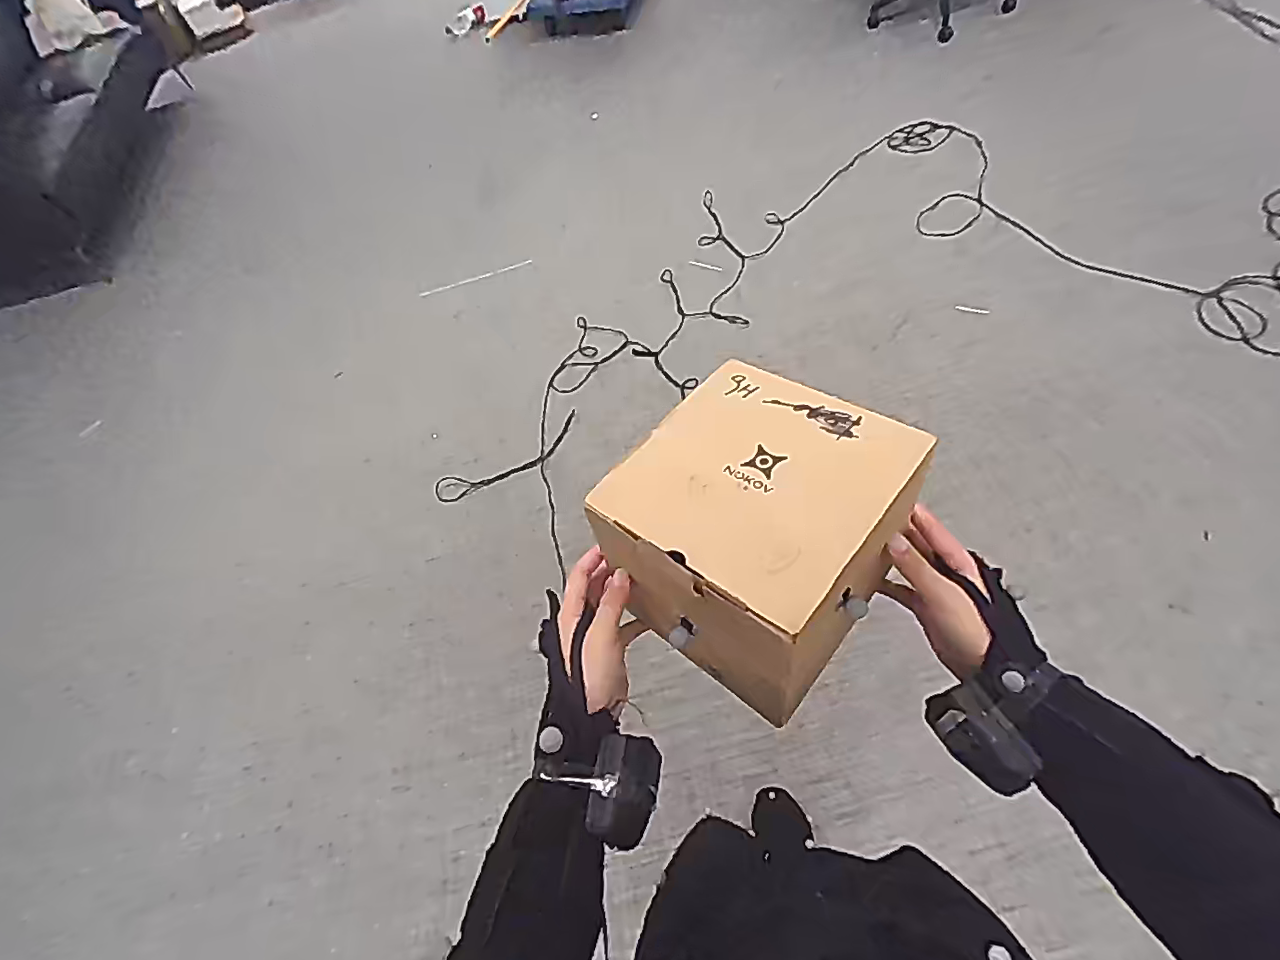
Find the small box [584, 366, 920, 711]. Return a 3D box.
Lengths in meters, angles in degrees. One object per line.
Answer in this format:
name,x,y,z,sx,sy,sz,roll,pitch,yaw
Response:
small box,0.088,0.047,0.429,0.168,0.176,0.179,30,63,31
